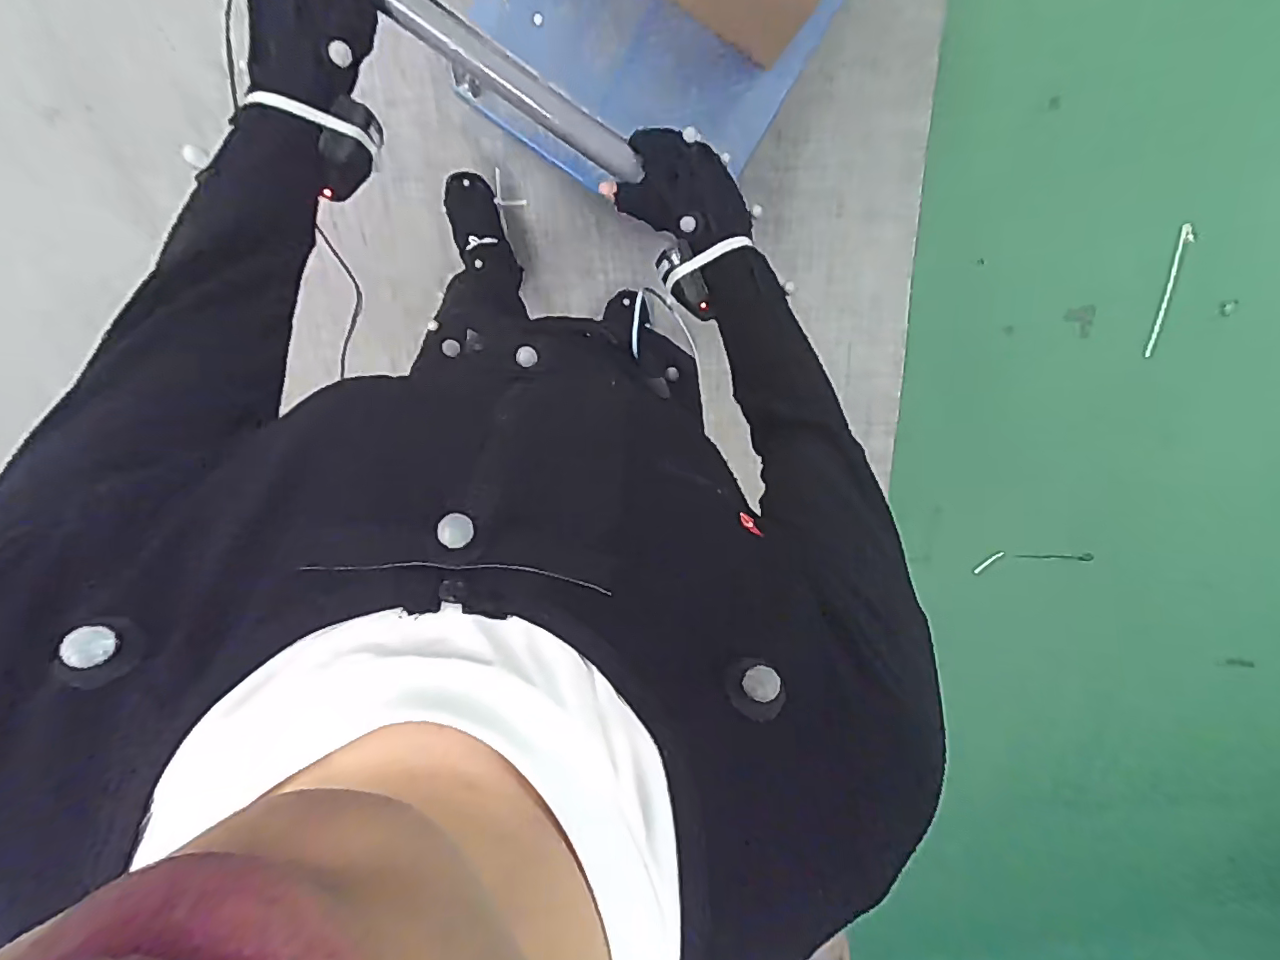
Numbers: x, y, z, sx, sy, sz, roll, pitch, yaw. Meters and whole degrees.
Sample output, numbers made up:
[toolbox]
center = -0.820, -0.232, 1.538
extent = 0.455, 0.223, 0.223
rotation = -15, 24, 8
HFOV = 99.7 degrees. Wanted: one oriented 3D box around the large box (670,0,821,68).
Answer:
[large box]
center = 0.151, -0.937, 0.813
extent = 0.408, 0.320, 0.320
rotation = 28, 108, -11
